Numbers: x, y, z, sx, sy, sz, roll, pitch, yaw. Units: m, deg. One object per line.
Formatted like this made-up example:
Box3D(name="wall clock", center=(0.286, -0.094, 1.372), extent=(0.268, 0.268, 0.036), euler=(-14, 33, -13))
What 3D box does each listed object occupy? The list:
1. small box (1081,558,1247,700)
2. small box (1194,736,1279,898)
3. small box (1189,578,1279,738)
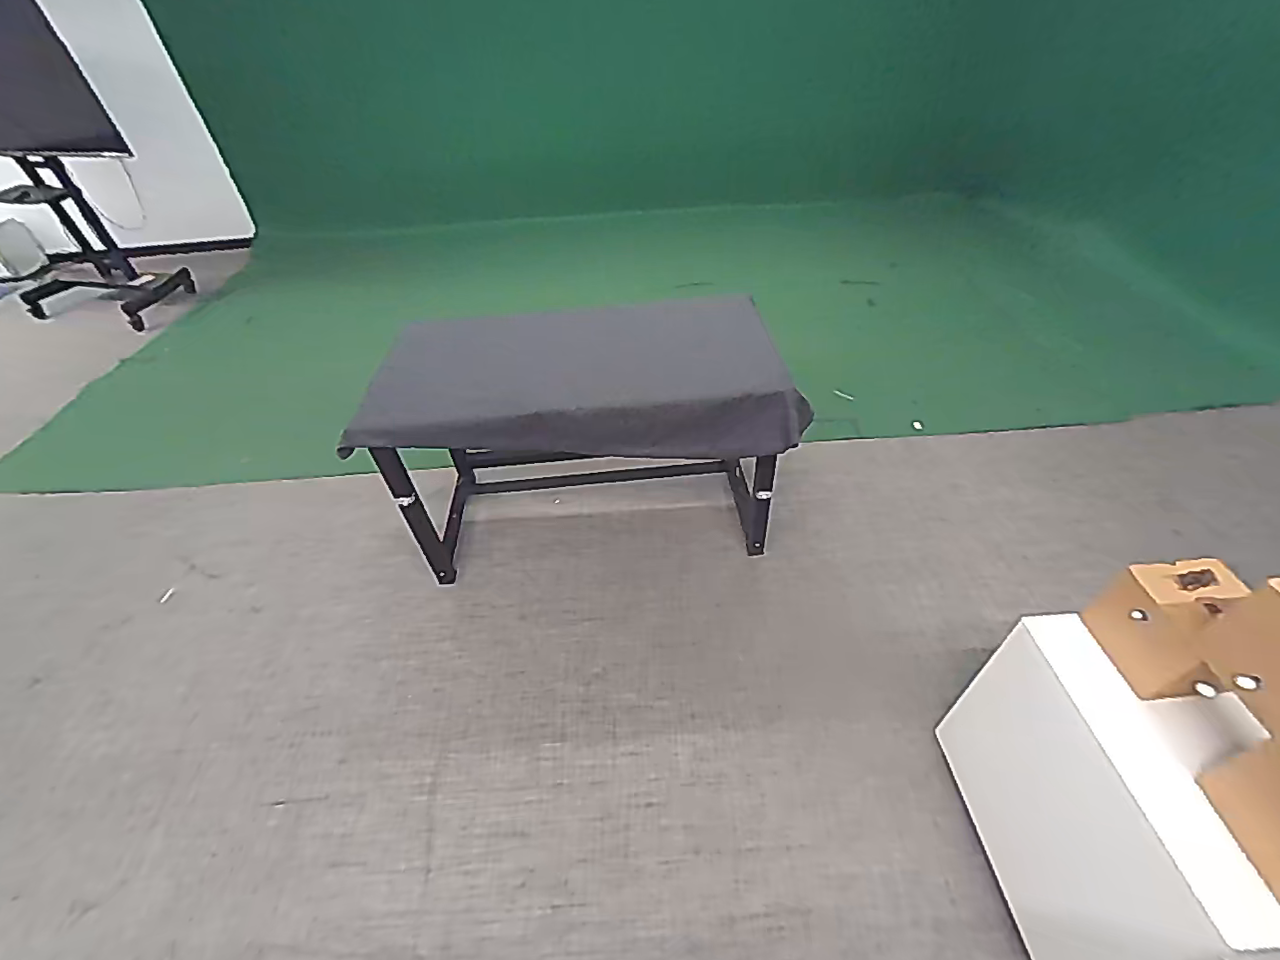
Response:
Box3D(name="small box", center=(0.940, 0.261, 0.949), extent=(0.168, 0.176, 0.179), euler=(-5, 45, 0))
Box3D(name="small box", center=(0.945, 0.469, 0.735), extent=(0.168, 0.176, 0.179), euler=(-2, 42, 1))
Box3D(name="small box", center=(0.936, 0.246, 0.732), extent=(0.168, 0.176, 0.179), euler=(-5, 45, -1))
